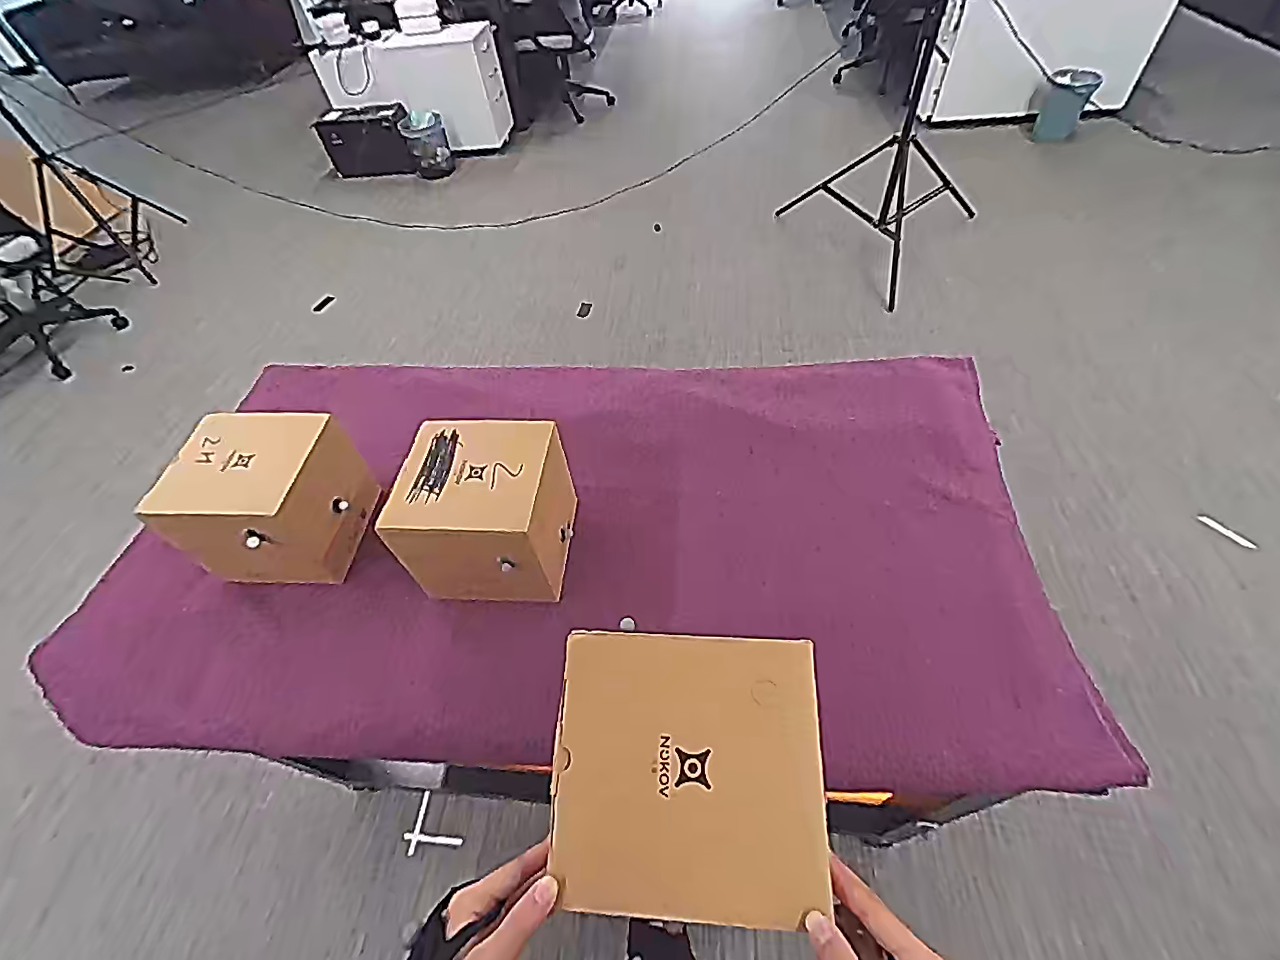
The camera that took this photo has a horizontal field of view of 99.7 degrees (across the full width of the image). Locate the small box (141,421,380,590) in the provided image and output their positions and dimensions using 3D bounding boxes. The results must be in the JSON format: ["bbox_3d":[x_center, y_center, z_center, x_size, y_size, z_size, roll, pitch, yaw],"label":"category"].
[{"bbox_3d":[-0.489,0.038,0.735,0.179,0.176,0.168,0,50,4],"label":"small box"}]

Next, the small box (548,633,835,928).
[{"bbox_3d":[0.041,0.219,0.429,0.179,0.176,0.168,-1,66,7],"label":"small box"}]
